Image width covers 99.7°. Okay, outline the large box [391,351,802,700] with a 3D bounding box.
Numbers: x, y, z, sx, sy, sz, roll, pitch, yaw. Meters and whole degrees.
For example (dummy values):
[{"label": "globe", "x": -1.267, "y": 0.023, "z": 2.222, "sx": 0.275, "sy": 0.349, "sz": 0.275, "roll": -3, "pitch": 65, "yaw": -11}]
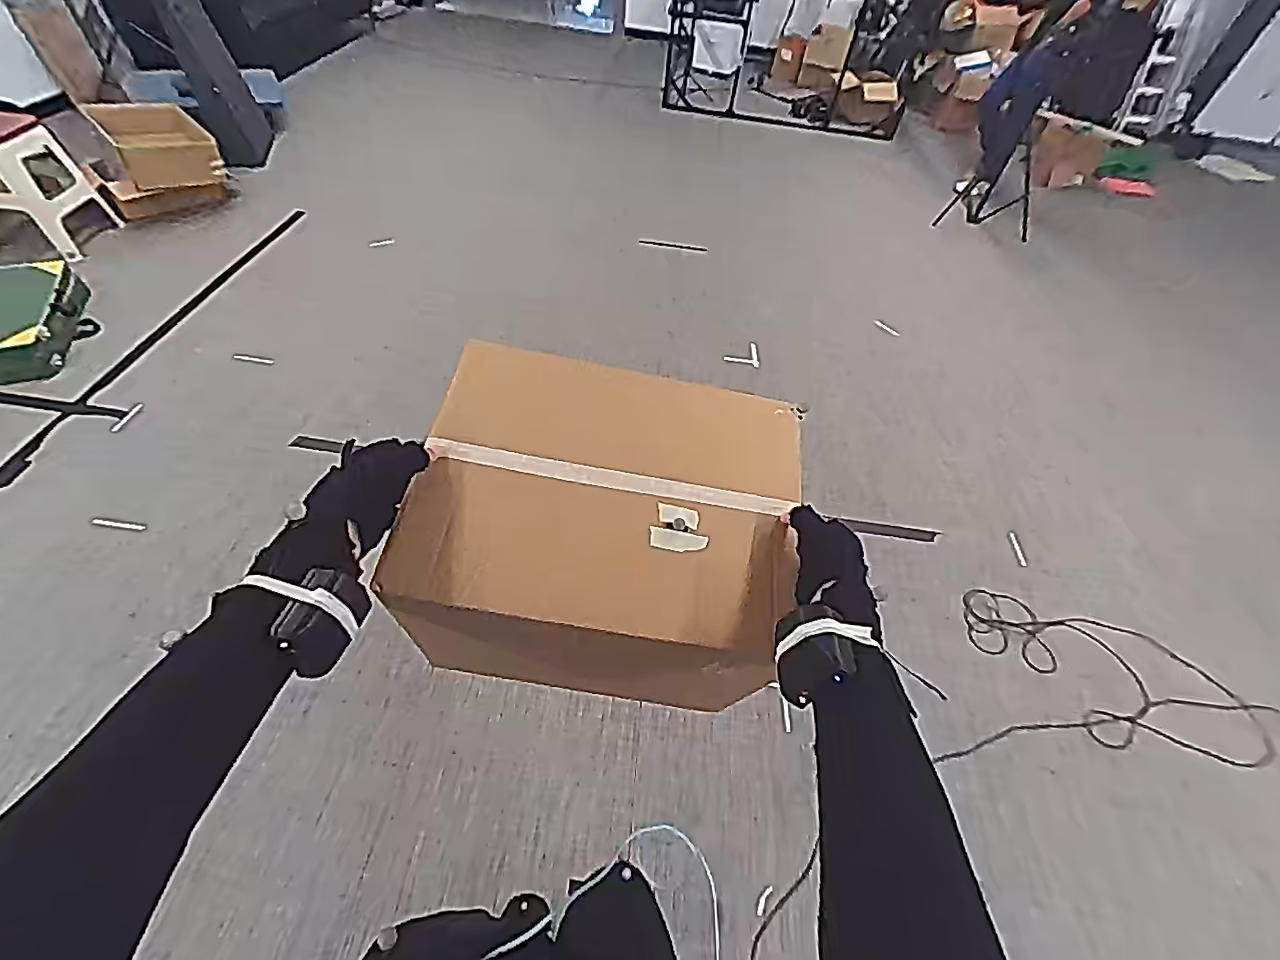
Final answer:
[{"label": "large box", "x": -0.046, "y": 0.080, "z": 0.712, "sx": 0.408, "sy": 0.320, "sz": 0.320, "roll": 11, "pitch": 59, "yaw": -4}]
